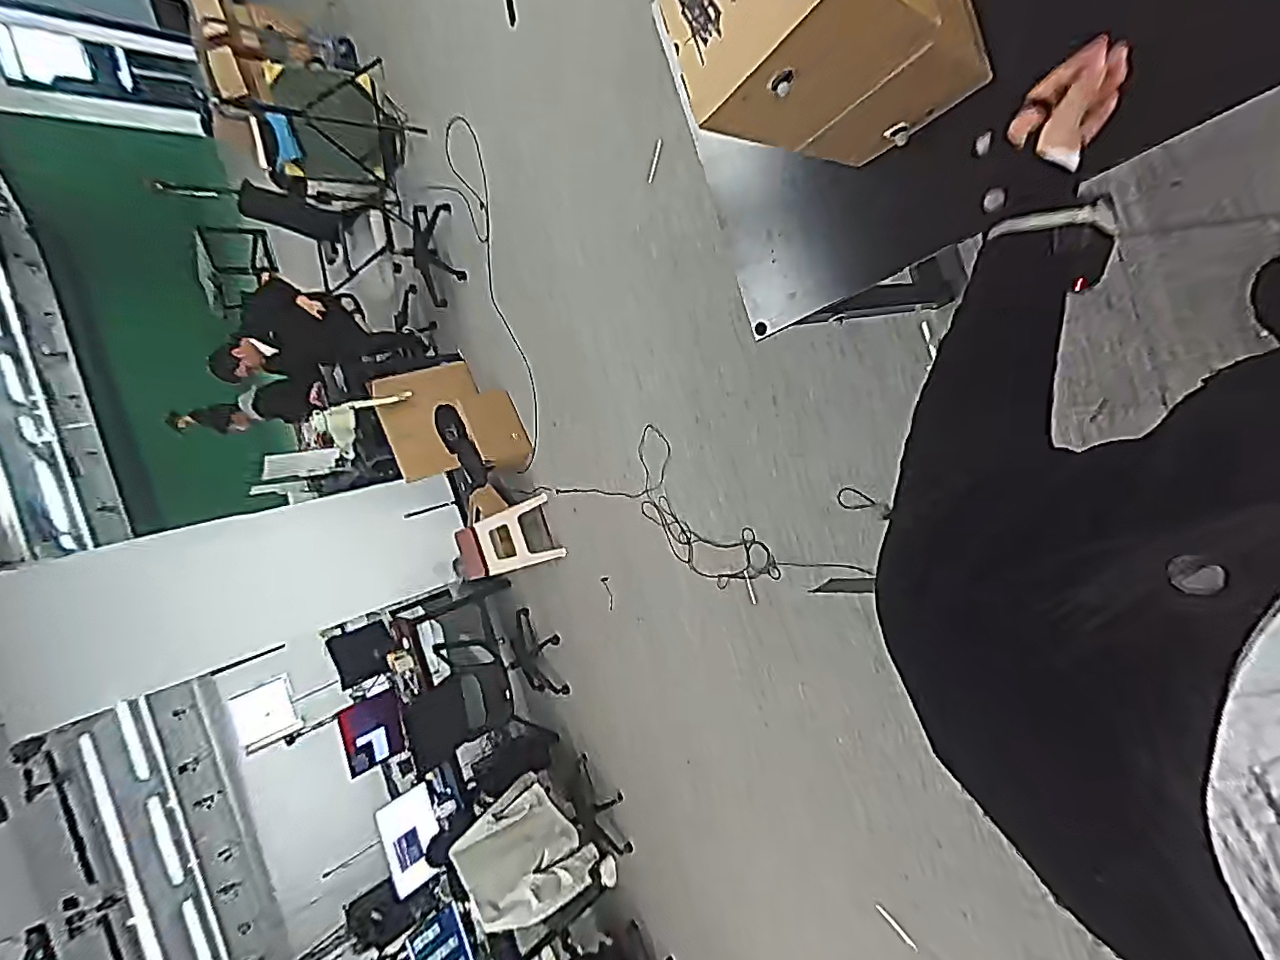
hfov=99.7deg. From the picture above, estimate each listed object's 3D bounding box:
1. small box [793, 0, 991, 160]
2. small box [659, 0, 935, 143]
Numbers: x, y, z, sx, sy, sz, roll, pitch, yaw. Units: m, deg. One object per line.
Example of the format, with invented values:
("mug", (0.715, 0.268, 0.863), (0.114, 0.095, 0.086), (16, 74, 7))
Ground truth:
("small box", (0.268, -0.505, 0.625), (0.168, 0.176, 0.179), (-17, 92, 53))
("small box", (0.145, -0.464, 0.523), (0.179, 0.176, 0.168), (-18, 89, 52))
